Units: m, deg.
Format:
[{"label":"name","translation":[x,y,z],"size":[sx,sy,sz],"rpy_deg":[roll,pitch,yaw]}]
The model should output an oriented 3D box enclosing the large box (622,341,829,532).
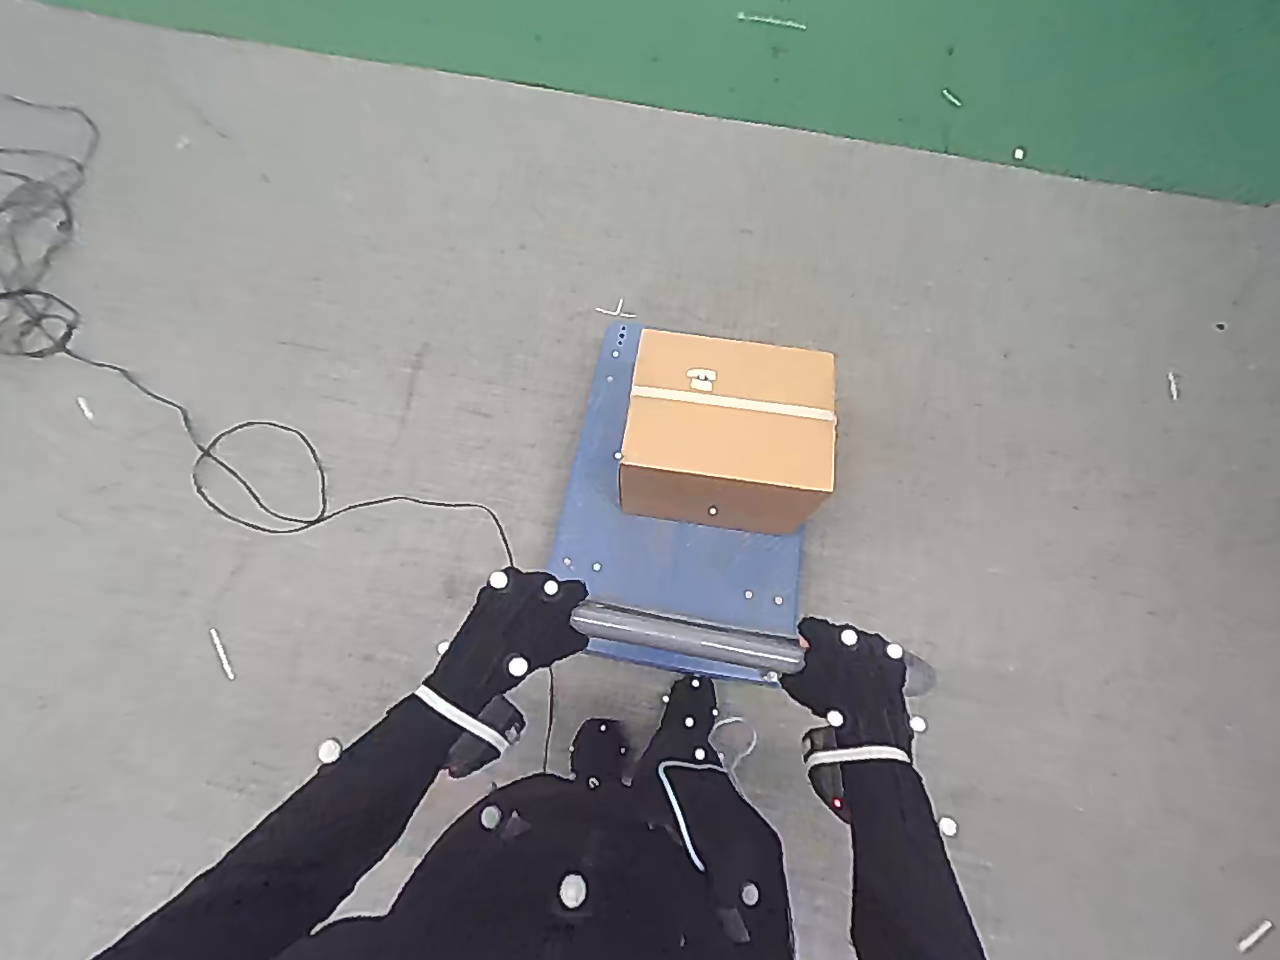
[{"label":"large box","translation":[0.178,-0.082,1.221],"size":[0.408,0.320,0.320],"rpy_deg":[6,68,2]}]
